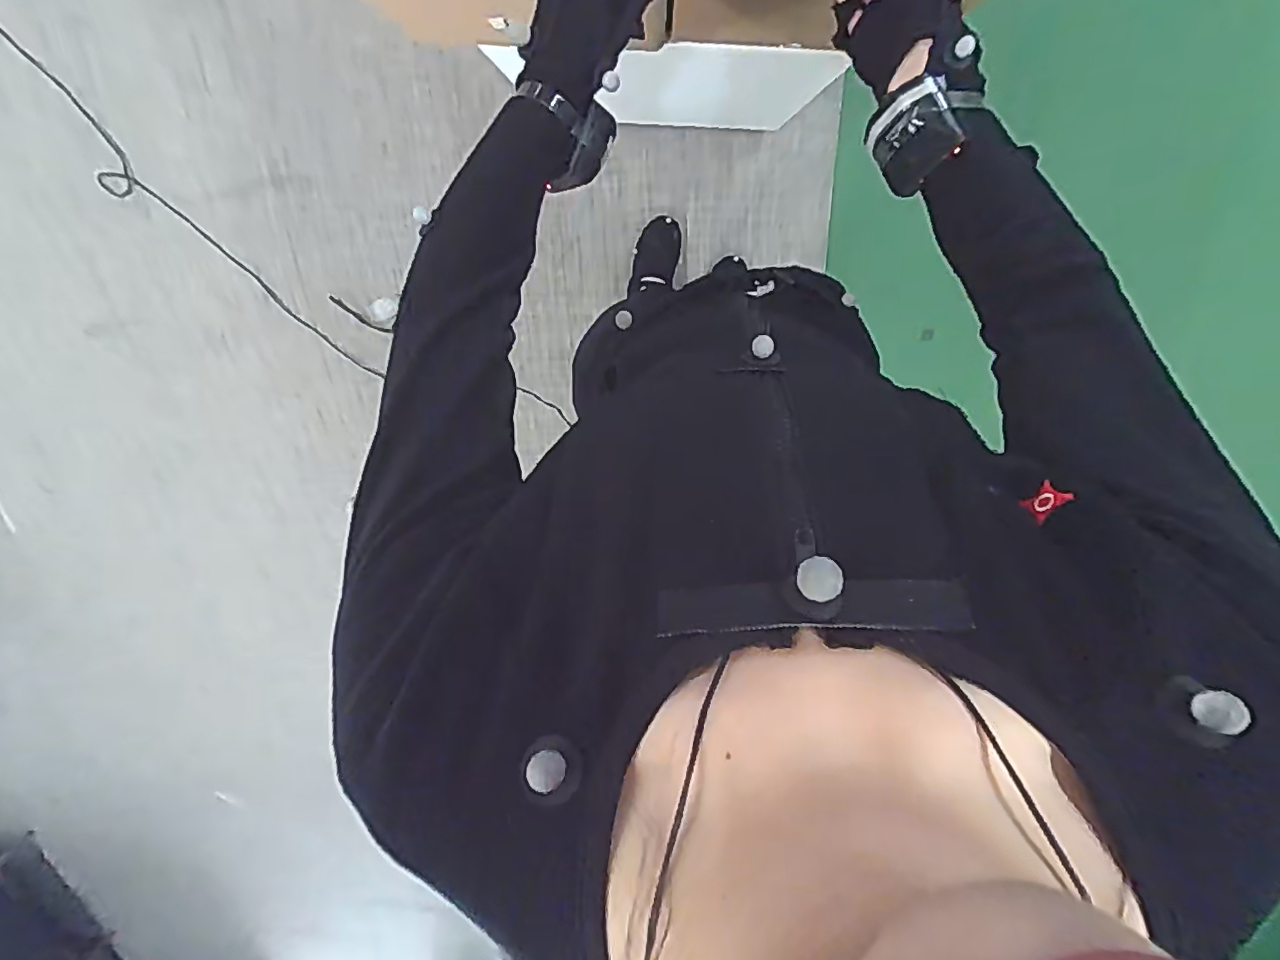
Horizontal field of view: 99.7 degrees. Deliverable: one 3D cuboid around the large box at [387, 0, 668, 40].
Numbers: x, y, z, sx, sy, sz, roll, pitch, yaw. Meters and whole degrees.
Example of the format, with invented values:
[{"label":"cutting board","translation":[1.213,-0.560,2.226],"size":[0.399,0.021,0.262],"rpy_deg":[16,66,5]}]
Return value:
[{"label":"large box","translation":[-0.122,-0.678,0.470],"size":[0.320,0.320,0.408],"rpy_deg":[3,113,0]}]
